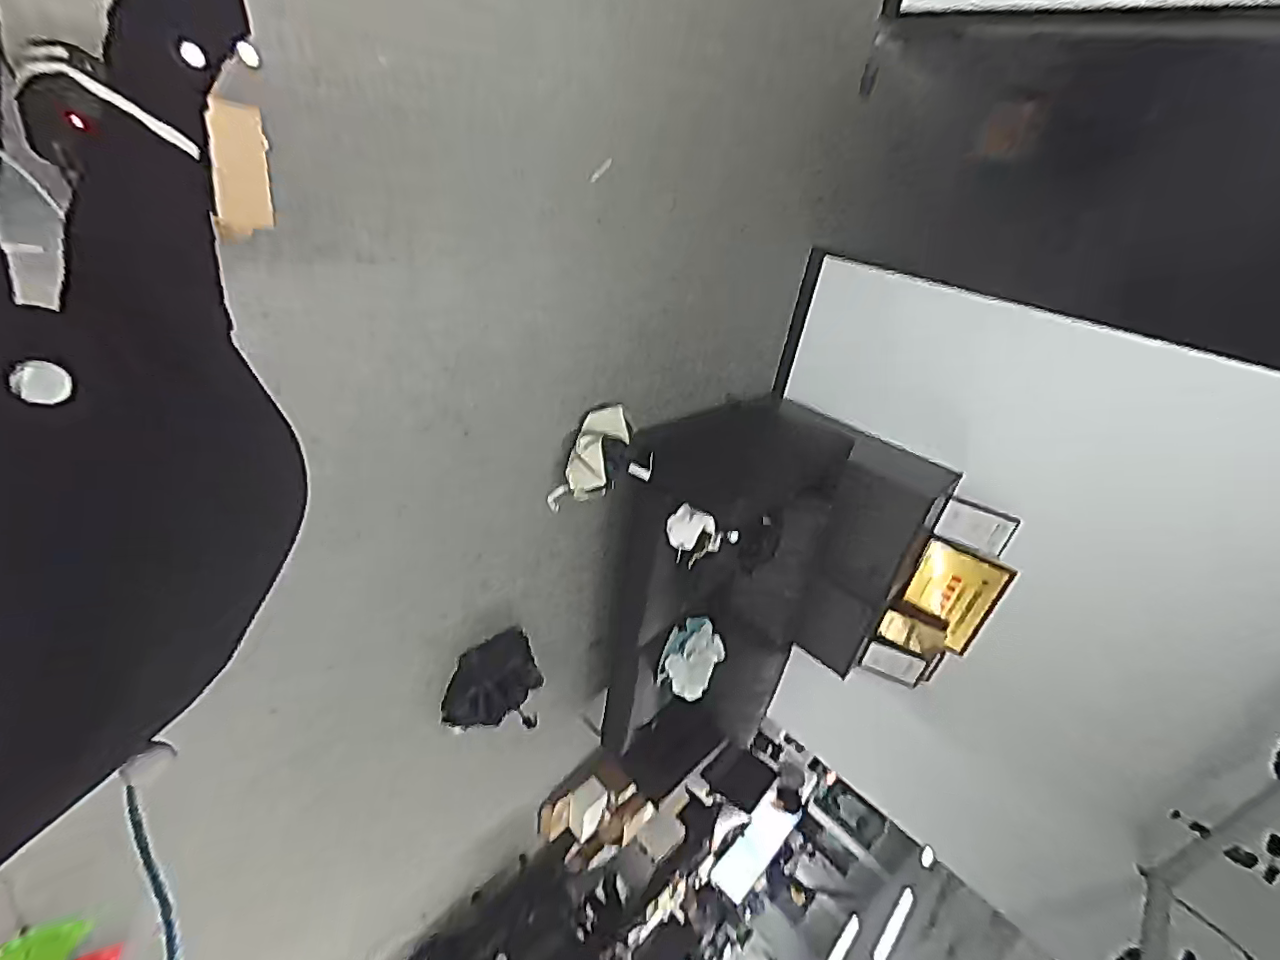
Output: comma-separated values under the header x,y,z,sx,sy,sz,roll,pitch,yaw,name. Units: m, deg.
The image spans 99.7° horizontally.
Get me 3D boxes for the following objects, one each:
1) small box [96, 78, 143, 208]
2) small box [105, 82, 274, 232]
x,y,z,sx,sy,sz,roll,pitch,yaw,name
-0.829,-0.584,0.962,0.168,0.176,0.179,-16,129,-45,small box
-0.726,-0.521,0.877,0.168,0.176,0.179,-19,132,-44,small box
